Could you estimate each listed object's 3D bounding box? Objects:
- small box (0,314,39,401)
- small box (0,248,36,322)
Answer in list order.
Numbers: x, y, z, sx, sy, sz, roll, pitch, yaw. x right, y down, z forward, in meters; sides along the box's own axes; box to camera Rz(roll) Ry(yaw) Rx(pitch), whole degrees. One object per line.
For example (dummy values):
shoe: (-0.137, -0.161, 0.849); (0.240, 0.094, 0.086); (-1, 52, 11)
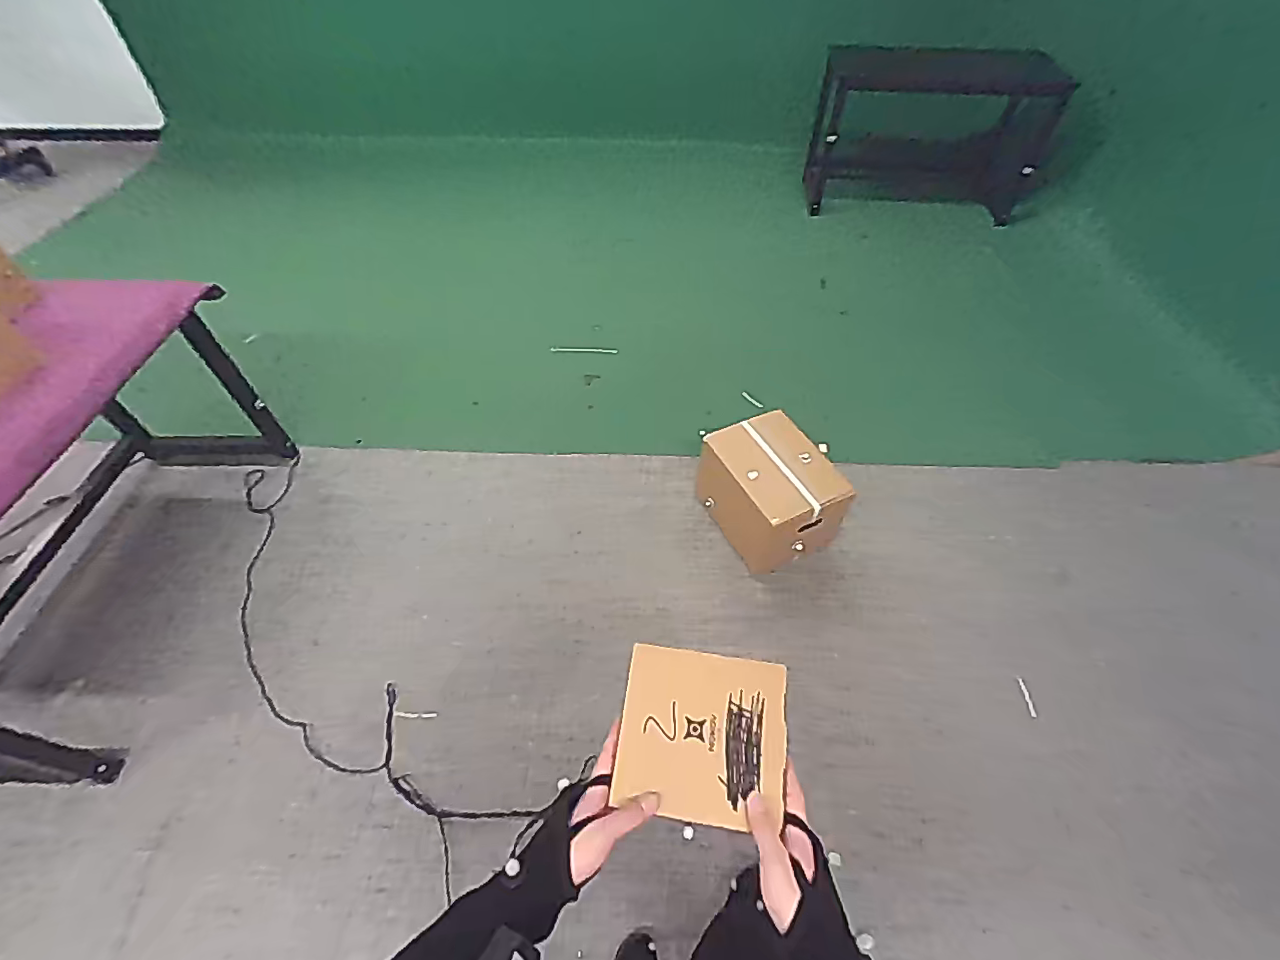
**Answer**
small box: (-1.582, -0.291, 1.254); (0.168, 0.176, 0.179); (2, 52, 1)
small box: (-1.790, -0.519, 1.432); (0.168, 0.176, 0.179); (4, 52, 1)
